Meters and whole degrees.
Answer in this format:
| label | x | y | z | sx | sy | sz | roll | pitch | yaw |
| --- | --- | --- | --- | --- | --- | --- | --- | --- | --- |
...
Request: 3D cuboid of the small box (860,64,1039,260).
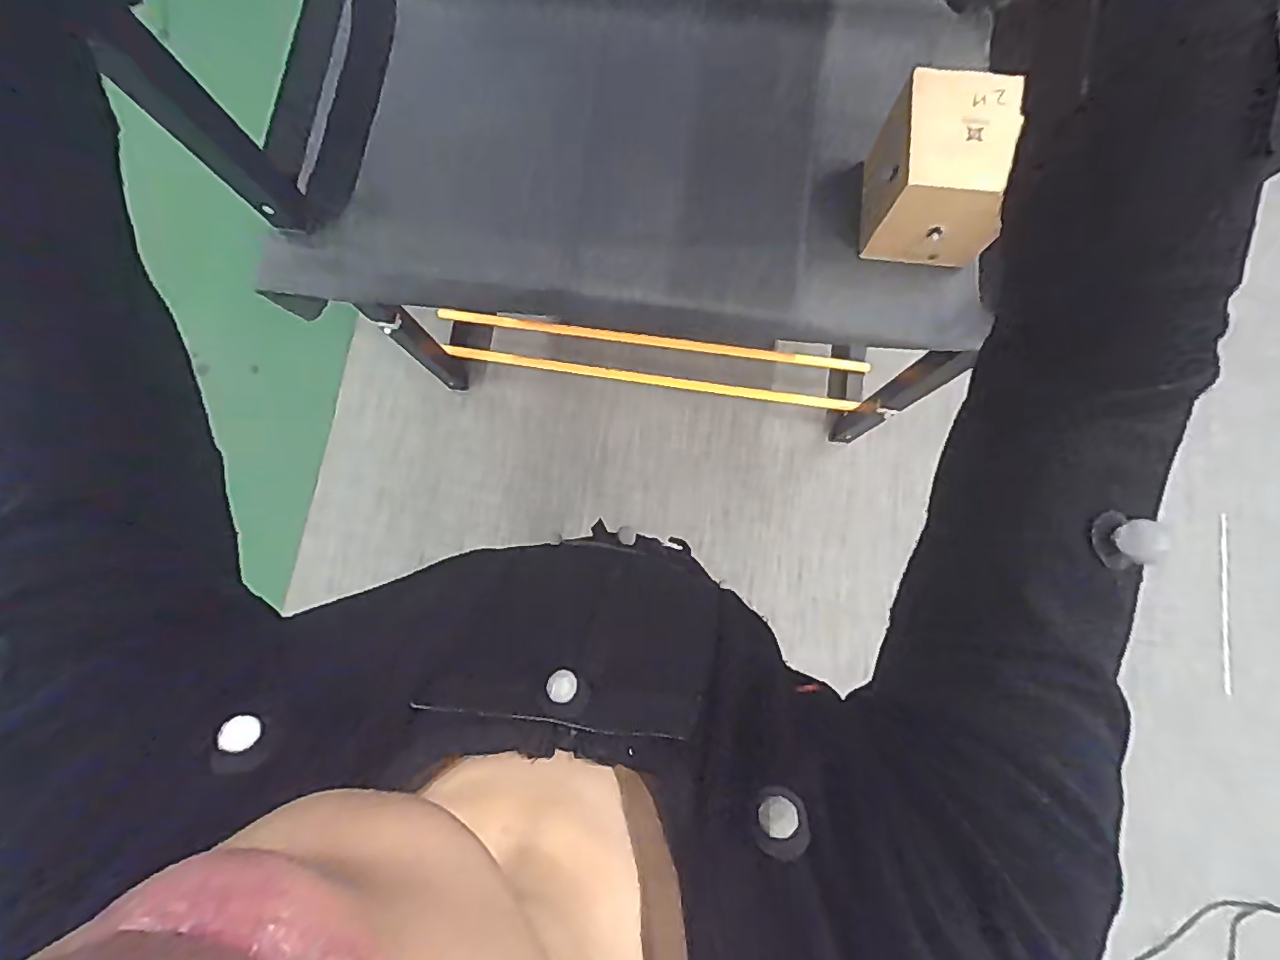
| label | x | y | z | sx | sy | sz | roll | pitch | yaw |
| --- | --- | --- | --- | --- | --- | --- | --- | --- | --- |
| small box | 0.429 | -0.440 | 0.773 | 0.168 | 0.176 | 0.179 | 6 | 80 | 2 |
